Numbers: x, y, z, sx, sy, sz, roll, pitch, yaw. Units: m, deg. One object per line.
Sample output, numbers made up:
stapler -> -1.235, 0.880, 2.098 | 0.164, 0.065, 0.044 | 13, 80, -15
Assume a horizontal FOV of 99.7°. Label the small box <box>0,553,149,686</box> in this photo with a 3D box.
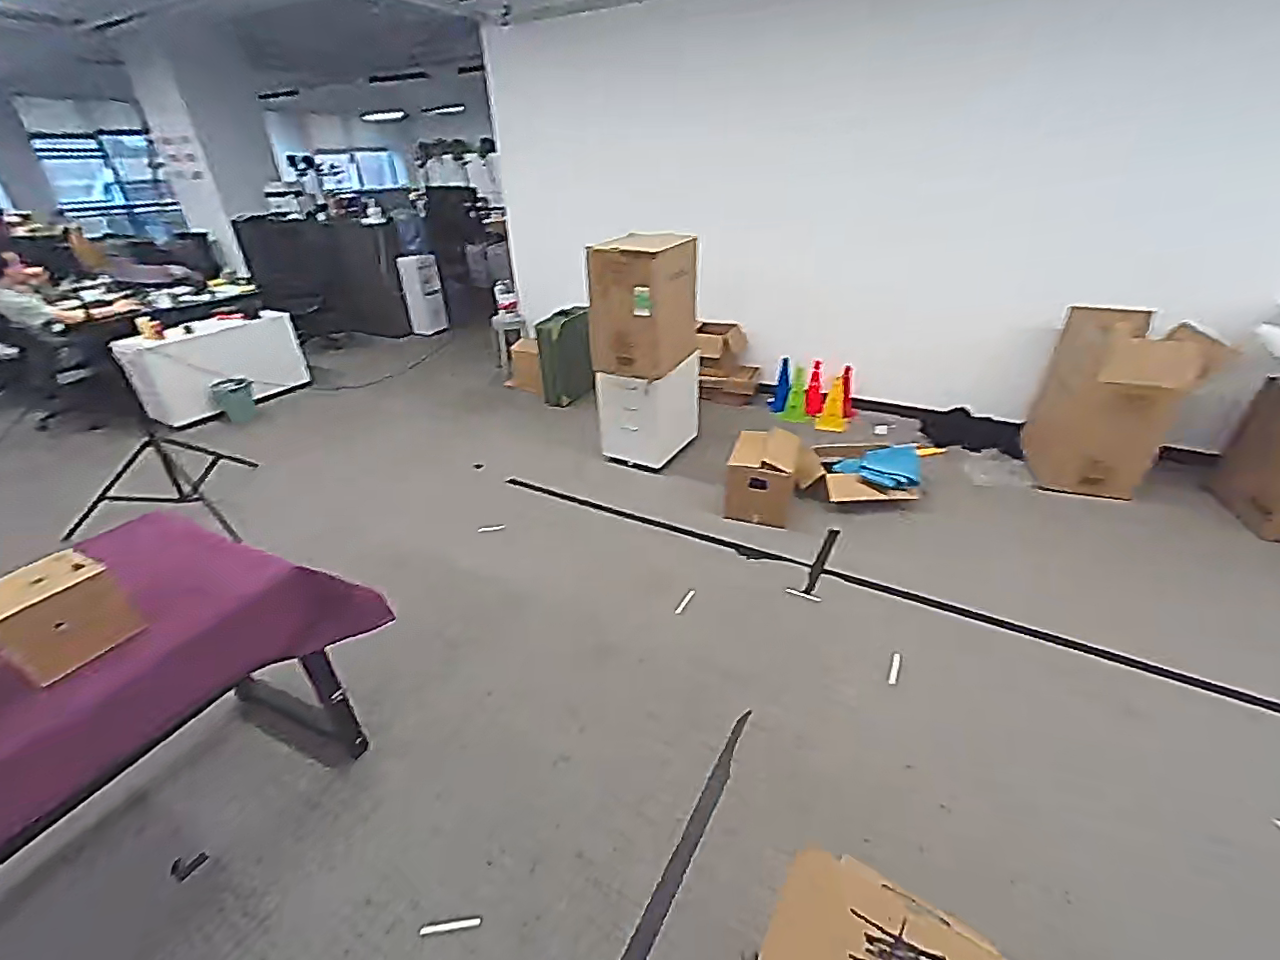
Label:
small box -> -1.171, 0.281, 1.097 | 0.168, 0.176, 0.179 | 13, 34, 23
